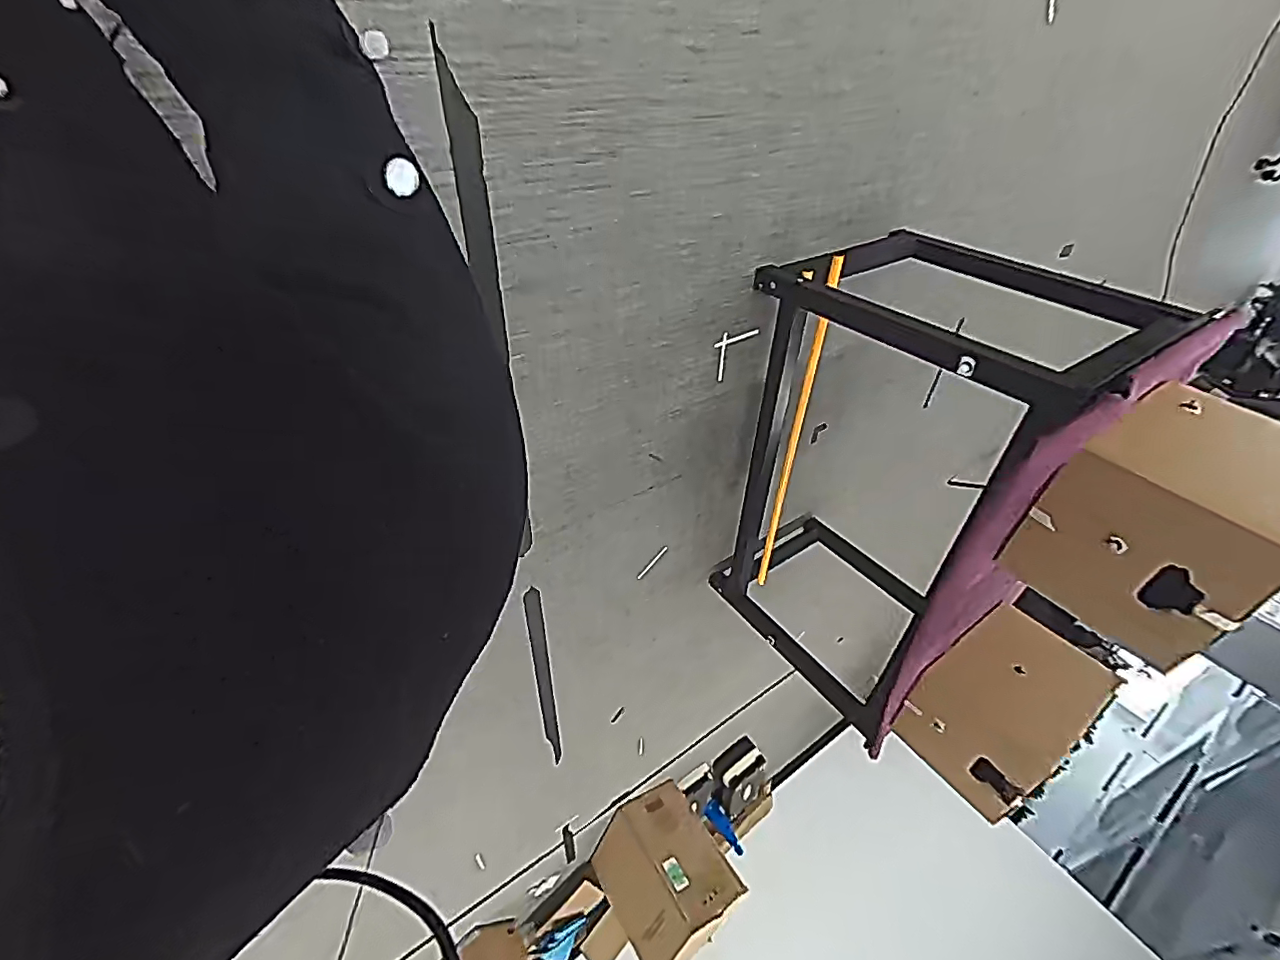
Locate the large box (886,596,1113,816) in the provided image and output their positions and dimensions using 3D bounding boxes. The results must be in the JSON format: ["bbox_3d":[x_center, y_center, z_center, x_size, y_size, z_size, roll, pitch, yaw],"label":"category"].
[{"bbox_3d":[0.949,0.593,1.465,0.408,0.320,0.320,-25,137,-28],"label":"large box"}]
